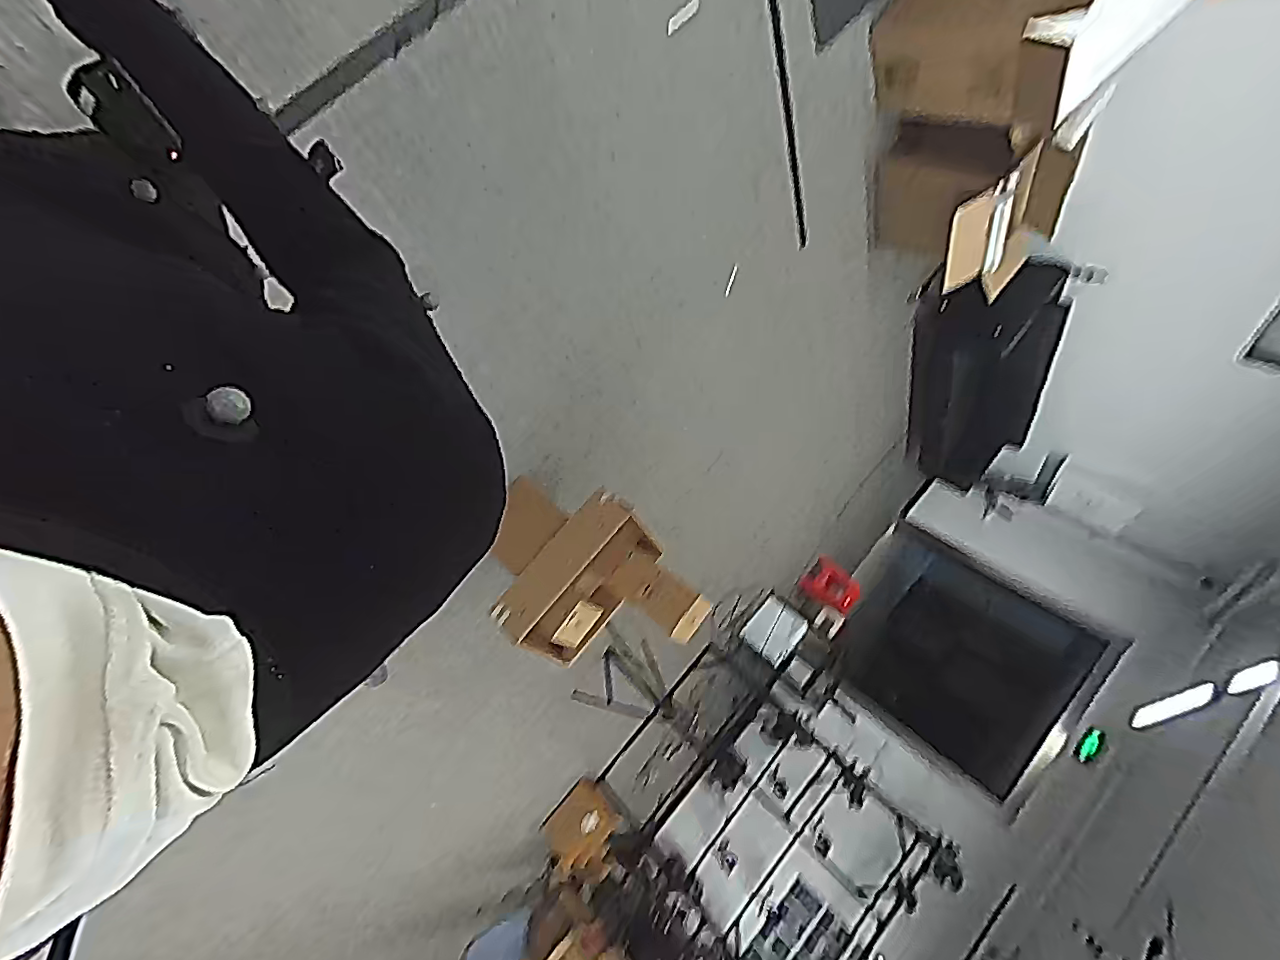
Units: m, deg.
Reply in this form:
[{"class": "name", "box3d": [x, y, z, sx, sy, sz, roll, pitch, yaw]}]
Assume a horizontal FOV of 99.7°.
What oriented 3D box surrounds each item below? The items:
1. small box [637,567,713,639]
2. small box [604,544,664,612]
[{"class": "small box", "box3d": [0.122, 0.427, 1.885, 0.168, 0.176, 0.179, -52, 147, -5]}, {"class": "small box", "box3d": [-0.001, 0.355, 1.970, 0.168, 0.176, 0.179, -51, 147, -6]}]
